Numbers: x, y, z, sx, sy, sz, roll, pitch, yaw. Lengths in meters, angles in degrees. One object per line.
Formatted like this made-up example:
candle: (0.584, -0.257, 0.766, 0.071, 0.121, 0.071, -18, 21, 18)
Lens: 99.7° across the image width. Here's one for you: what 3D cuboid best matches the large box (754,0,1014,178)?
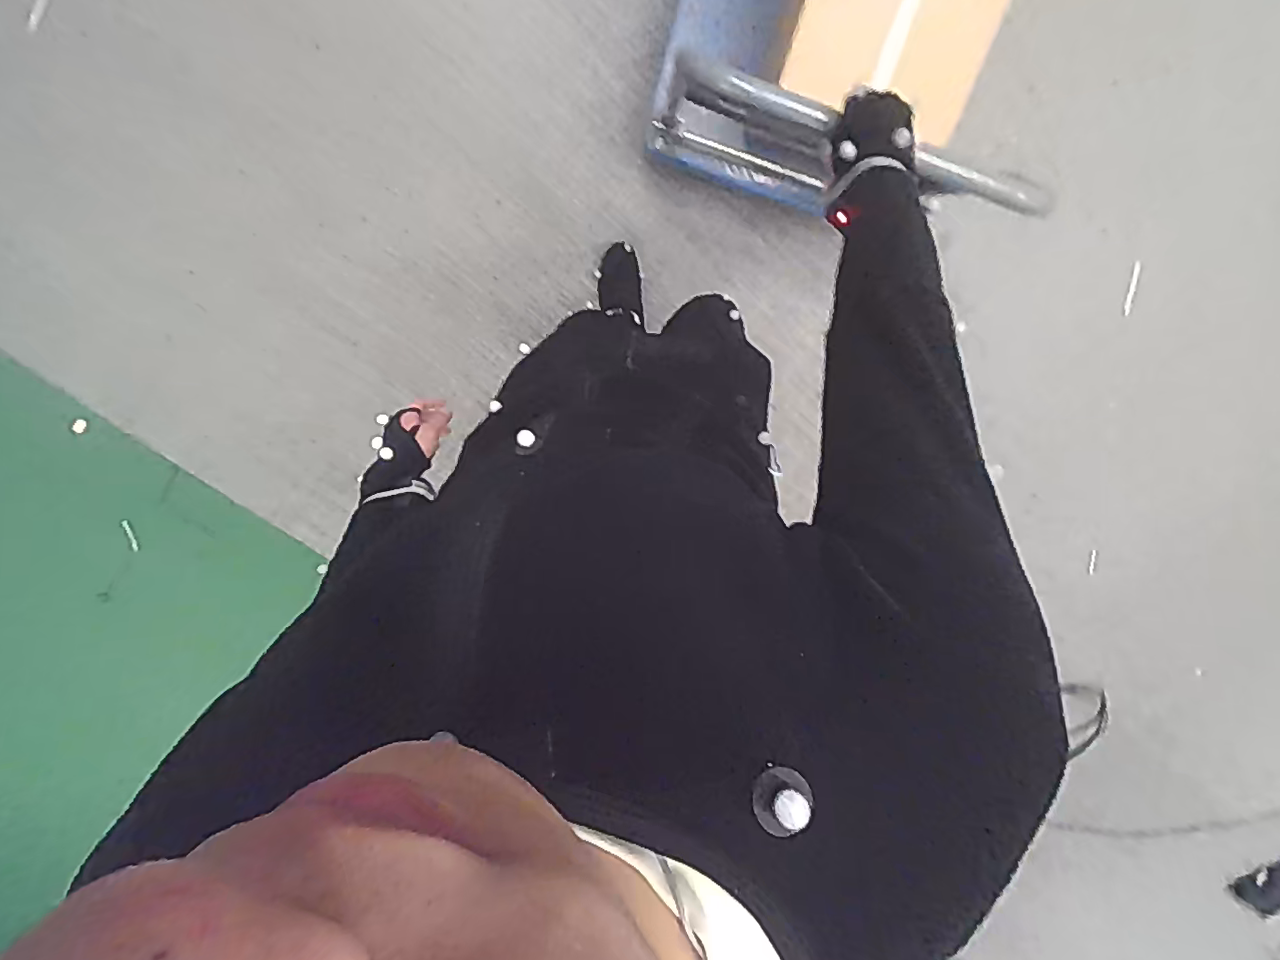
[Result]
large box: (0.441, -0.834, 0.991, 0.320, 0.320, 0.408, 15, 111, -7)
